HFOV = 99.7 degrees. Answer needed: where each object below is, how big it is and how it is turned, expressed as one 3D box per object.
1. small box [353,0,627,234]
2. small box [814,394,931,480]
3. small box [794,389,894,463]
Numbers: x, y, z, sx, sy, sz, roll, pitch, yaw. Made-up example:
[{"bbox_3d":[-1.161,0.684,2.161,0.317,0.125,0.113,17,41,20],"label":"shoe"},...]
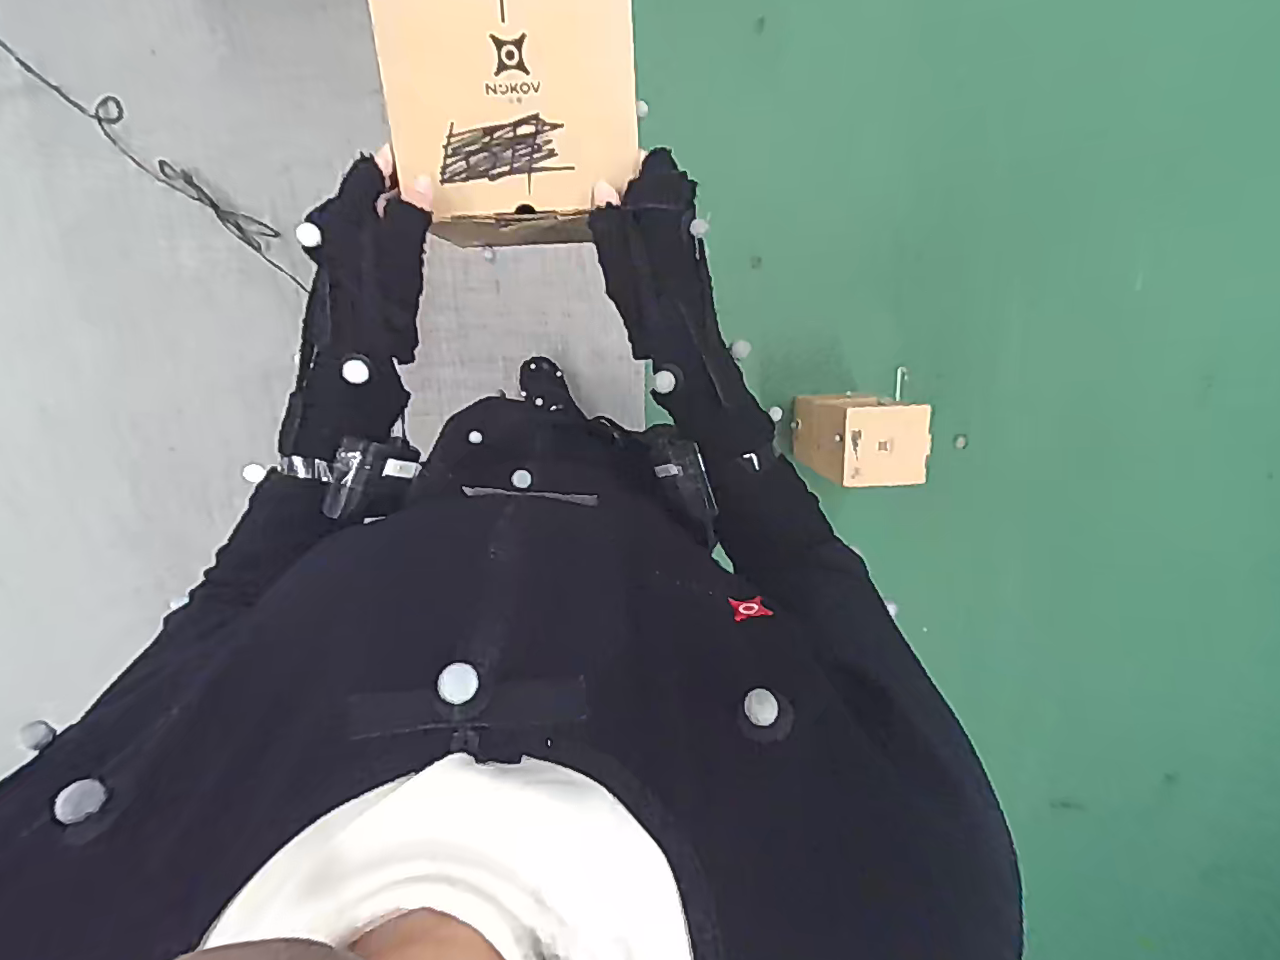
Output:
[{"bbox_3d":[-0.099,-0.295,0.421,0.168,0.176,0.179,-6,108,-4],"label":"small box"},{"bbox_3d":[0.499,-0.099,1.183,0.179,0.176,0.168,-3,103,-3],"label":"small box"},{"bbox_3d":[0.492,-0.136,1.324,0.179,0.176,0.168,-1,101,-2],"label":"small box"}]
